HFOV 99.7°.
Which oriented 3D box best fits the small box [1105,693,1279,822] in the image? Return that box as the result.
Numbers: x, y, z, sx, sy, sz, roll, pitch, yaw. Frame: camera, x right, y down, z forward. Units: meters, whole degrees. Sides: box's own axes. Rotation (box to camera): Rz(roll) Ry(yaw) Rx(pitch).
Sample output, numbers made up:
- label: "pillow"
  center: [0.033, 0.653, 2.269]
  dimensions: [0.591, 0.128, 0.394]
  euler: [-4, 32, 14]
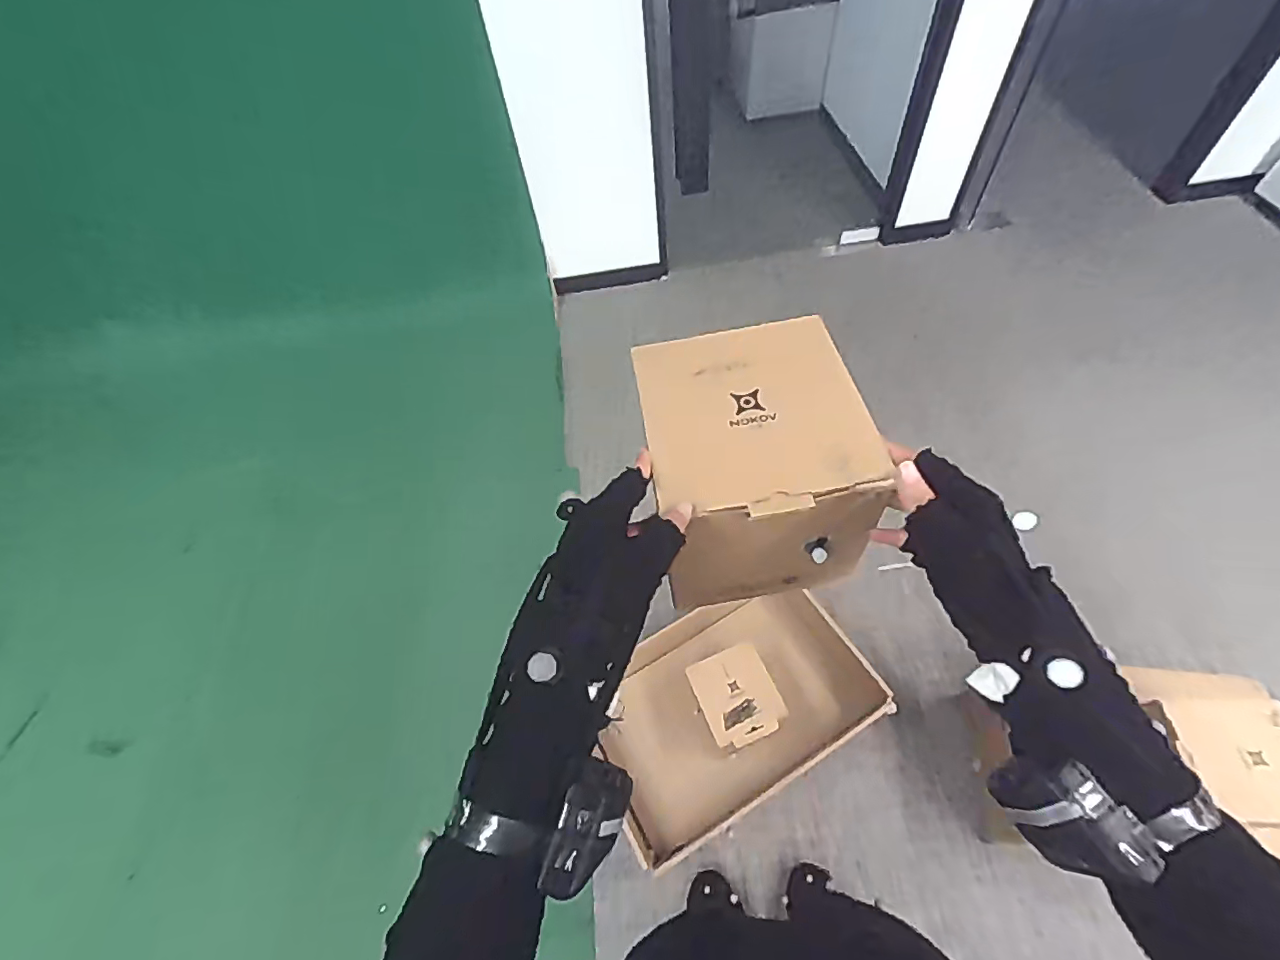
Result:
- label: "small box"
  center: [0.897, 0.444, 0.860]
  dimensions: [0.179, 0.176, 0.168]
  euler: [-2, 57, 6]

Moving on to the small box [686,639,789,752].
- label: "small box"
  center: [0.217, 0.495, 1.225]
  dimensions: [0.168, 0.176, 0.179]
  euler: [-22, 55, -7]
